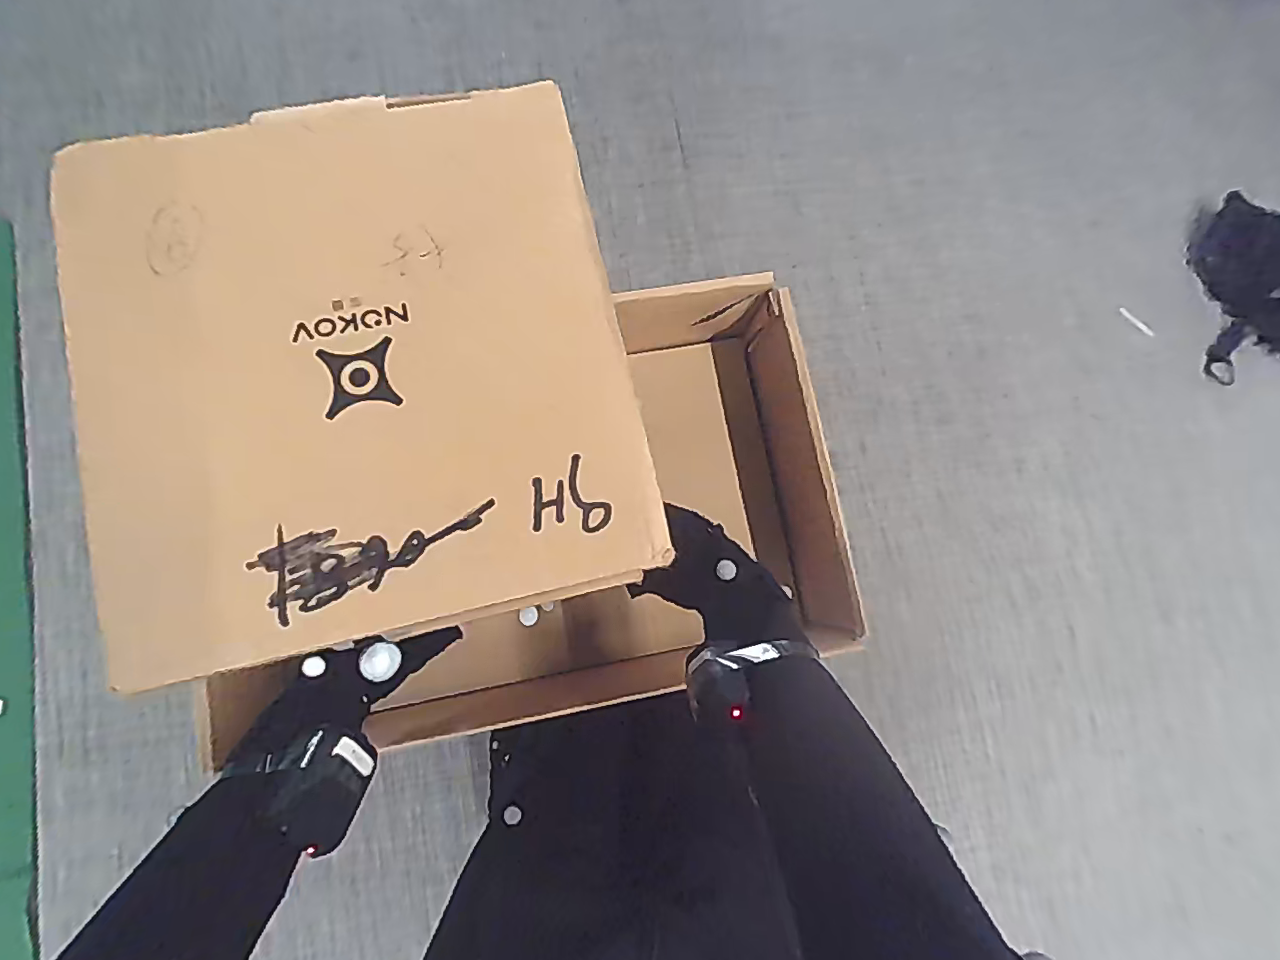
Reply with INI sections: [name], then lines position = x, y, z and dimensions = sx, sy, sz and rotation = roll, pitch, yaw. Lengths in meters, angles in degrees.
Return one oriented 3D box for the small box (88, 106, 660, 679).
[small box]
position = -0.095, -0.024, 0.256
dimensions = 0.168, 0.176, 0.179
rotation = -13, 80, -5
